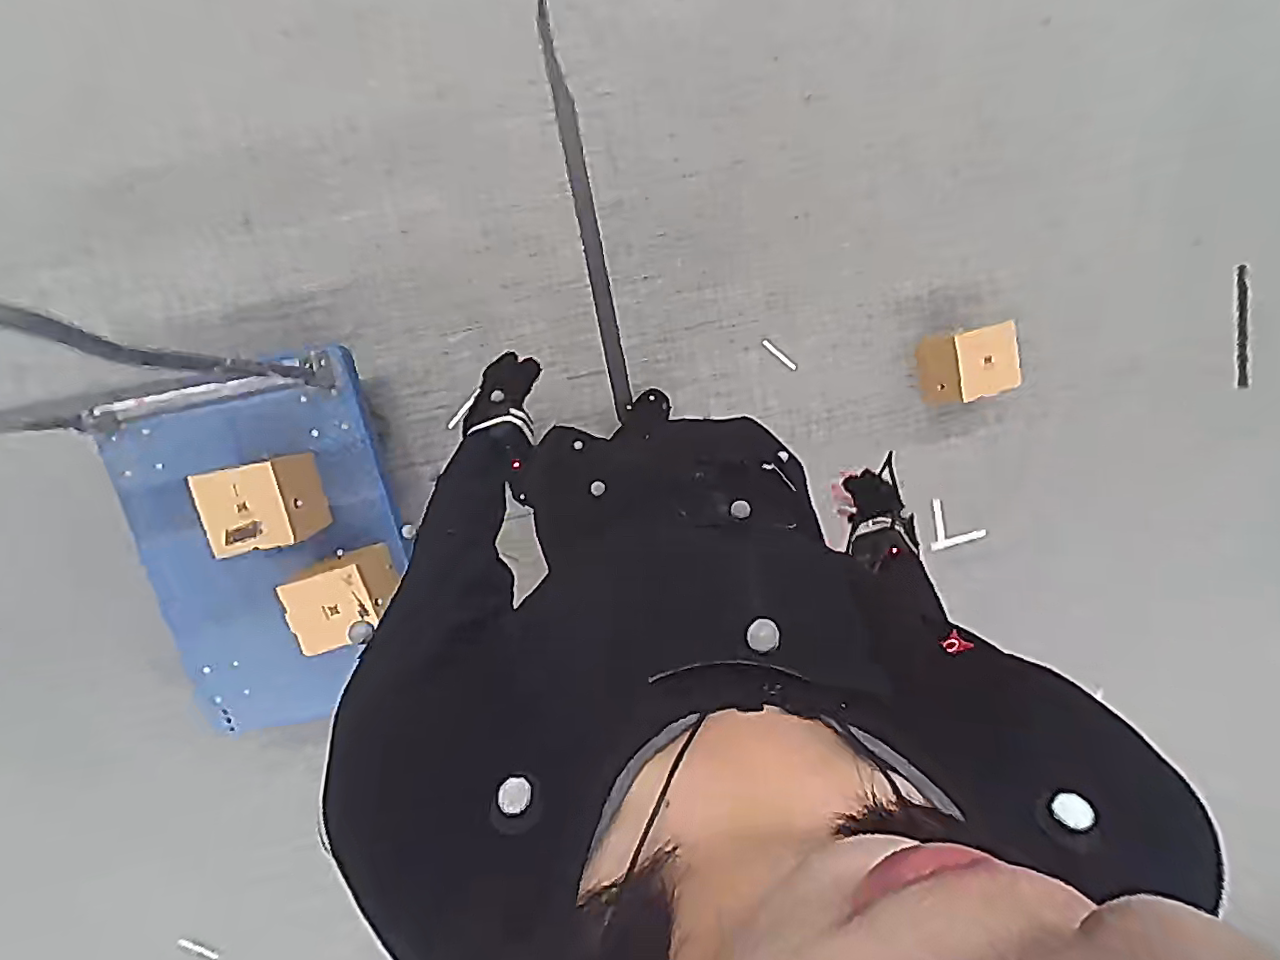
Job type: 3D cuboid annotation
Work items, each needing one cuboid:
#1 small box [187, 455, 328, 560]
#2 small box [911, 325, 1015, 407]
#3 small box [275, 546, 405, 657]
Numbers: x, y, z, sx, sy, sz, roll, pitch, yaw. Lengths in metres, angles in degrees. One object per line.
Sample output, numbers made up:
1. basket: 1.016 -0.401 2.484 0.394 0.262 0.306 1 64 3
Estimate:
1. small box: -0.814 0.053 1.173 0.168 0.176 0.179 -11 100 -3
2. small box: 0.869 -0.307 1.465 0.168 0.176 0.179 -16 100 -3
3. small box: -0.668 0.268 1.224 0.179 0.176 0.168 -16 101 -1
